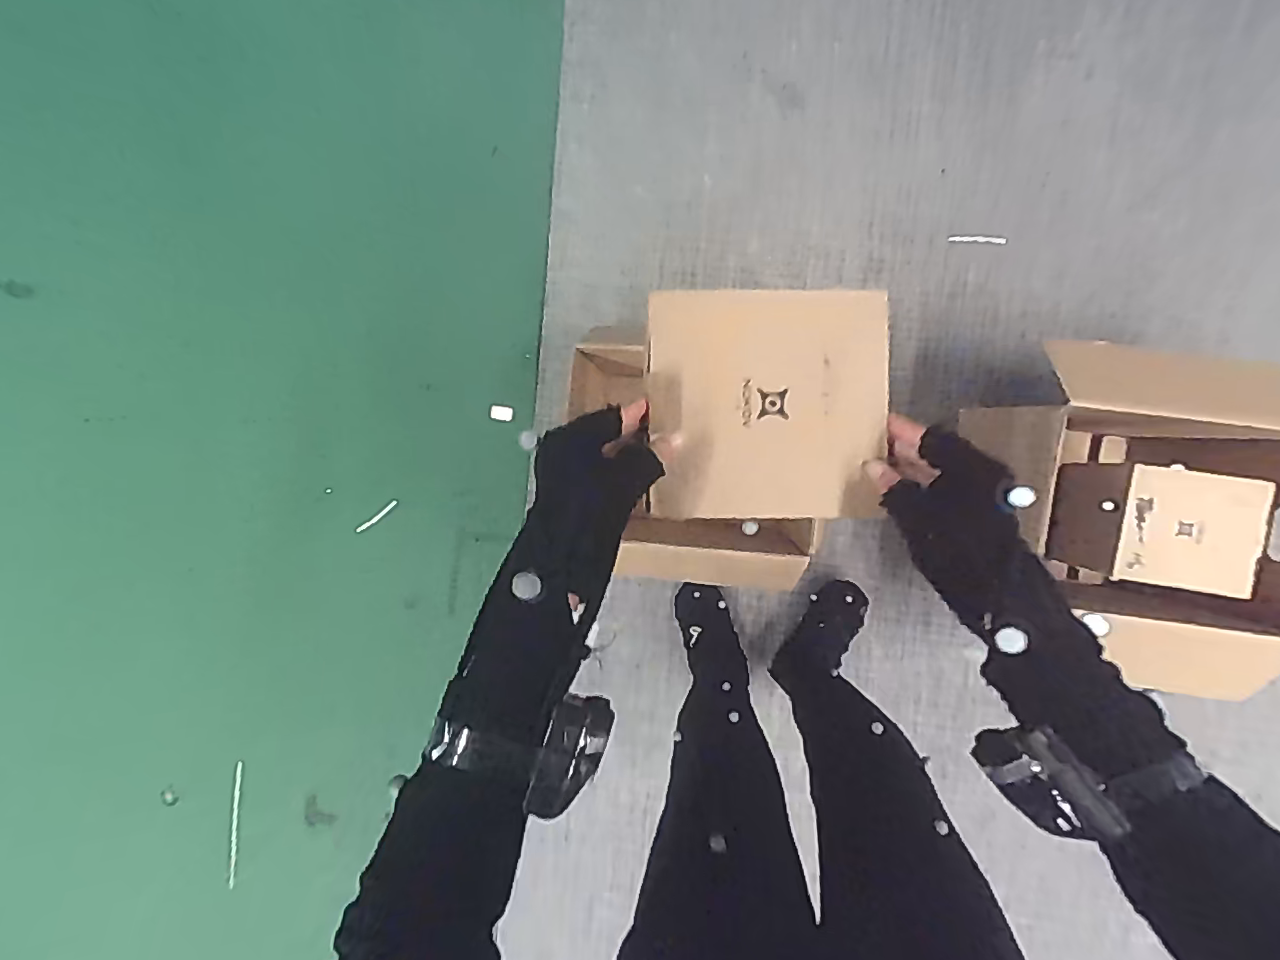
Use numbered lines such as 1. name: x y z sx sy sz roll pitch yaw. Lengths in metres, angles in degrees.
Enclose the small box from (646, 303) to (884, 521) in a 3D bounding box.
1. small box: 0.094 -0.049 0.484 0.179 0.176 0.168 -1 90 -2
